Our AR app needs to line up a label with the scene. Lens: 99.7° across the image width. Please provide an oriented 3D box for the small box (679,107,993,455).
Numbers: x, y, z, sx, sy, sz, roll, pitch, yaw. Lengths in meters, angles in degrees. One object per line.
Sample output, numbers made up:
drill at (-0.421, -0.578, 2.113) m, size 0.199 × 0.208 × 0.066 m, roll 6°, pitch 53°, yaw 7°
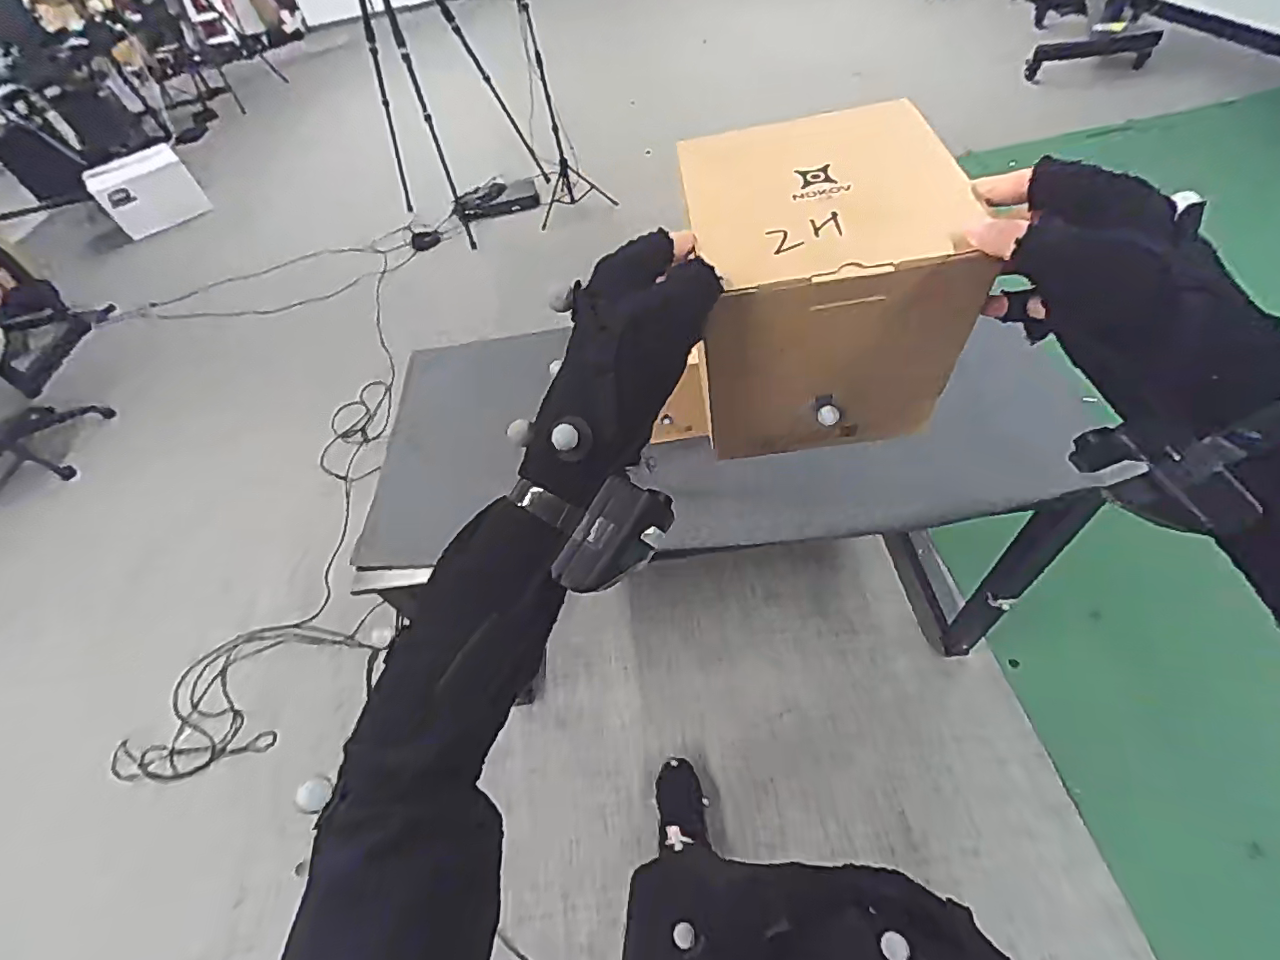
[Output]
small box at (0.122, -0.142, 0.414) m, size 0.168 × 0.176 × 0.179 m, roll -7°, pitch 57°, yaw 7°
